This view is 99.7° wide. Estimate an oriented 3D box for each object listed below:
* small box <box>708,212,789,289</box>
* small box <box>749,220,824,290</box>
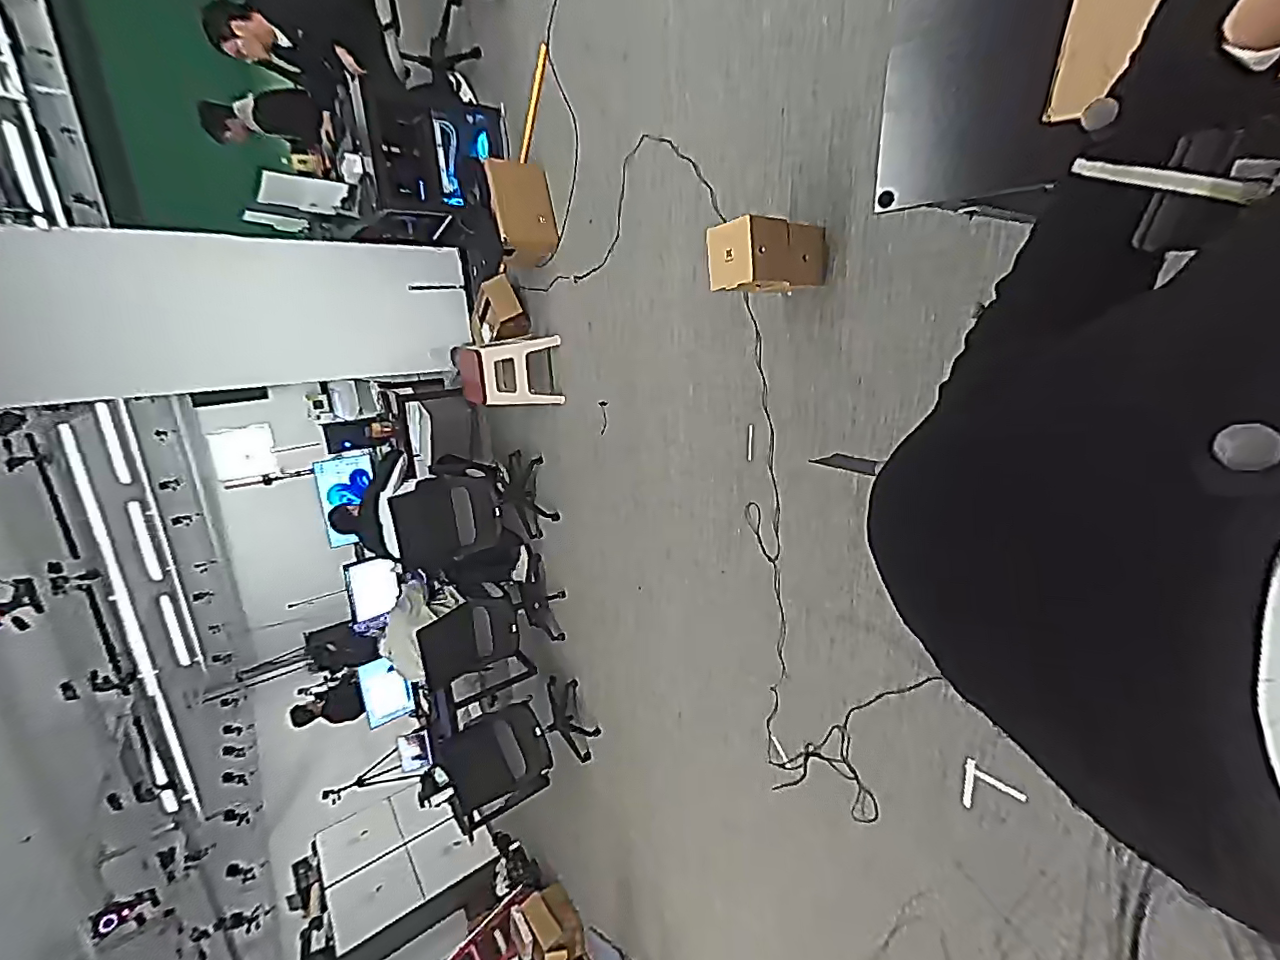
[{"bbox_3d":[0.318,-0.658,1.571,0.168,0.176,0.179,9,108,52],"label":"small box"},{"bbox_3d":[0.449,-0.686,1.664,0.168,0.176,0.179,14,114,52],"label":"small box"}]
